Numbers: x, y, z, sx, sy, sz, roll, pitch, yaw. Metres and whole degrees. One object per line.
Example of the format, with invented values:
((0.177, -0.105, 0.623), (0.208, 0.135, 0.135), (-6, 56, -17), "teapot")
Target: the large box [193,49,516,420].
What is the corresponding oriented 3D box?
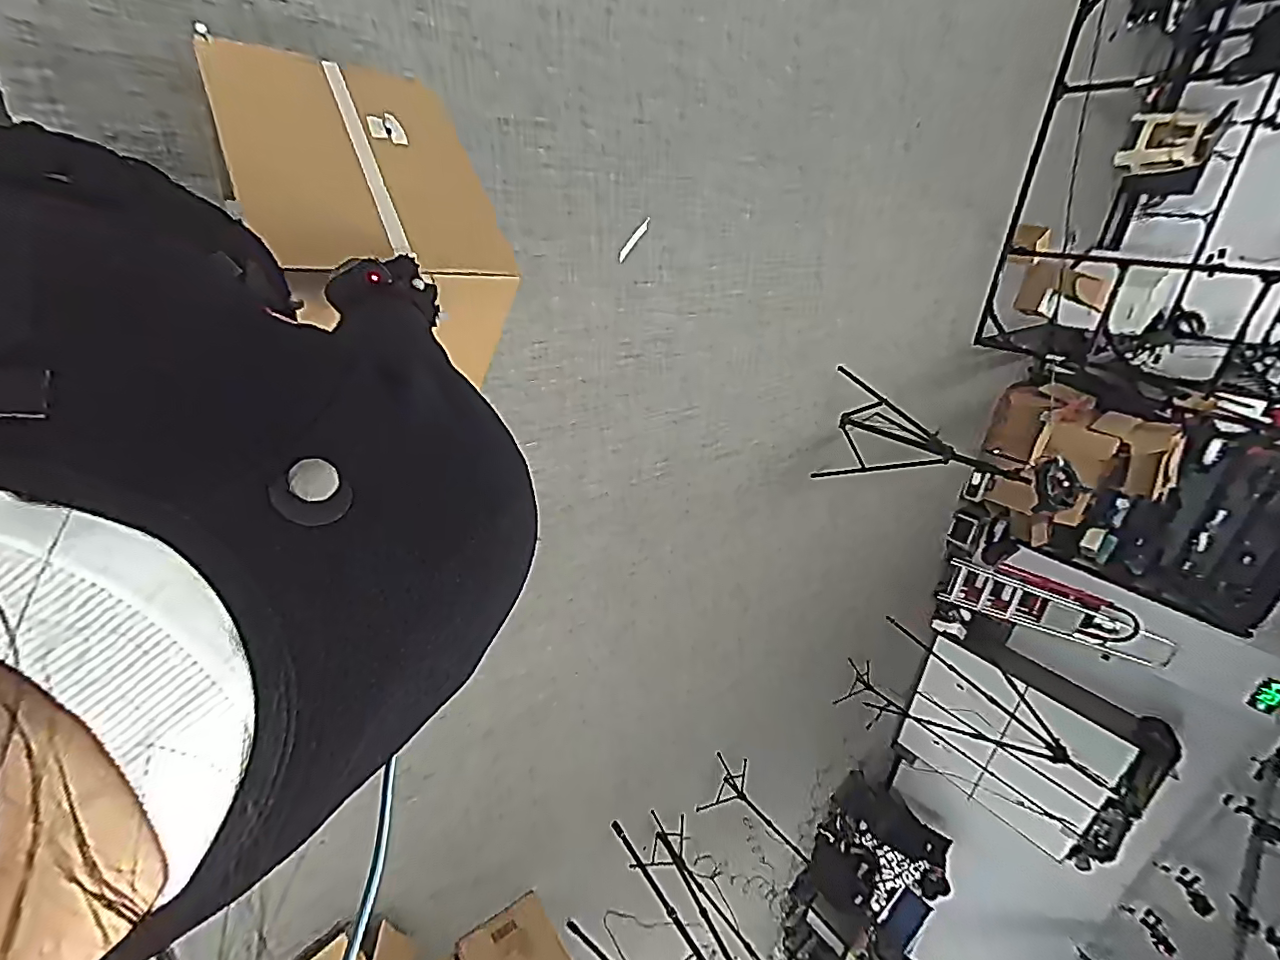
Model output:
((-0.446, -0.358, 0.855), (0.320, 0.408, 0.320), (-14, 160, -37), "large box")
